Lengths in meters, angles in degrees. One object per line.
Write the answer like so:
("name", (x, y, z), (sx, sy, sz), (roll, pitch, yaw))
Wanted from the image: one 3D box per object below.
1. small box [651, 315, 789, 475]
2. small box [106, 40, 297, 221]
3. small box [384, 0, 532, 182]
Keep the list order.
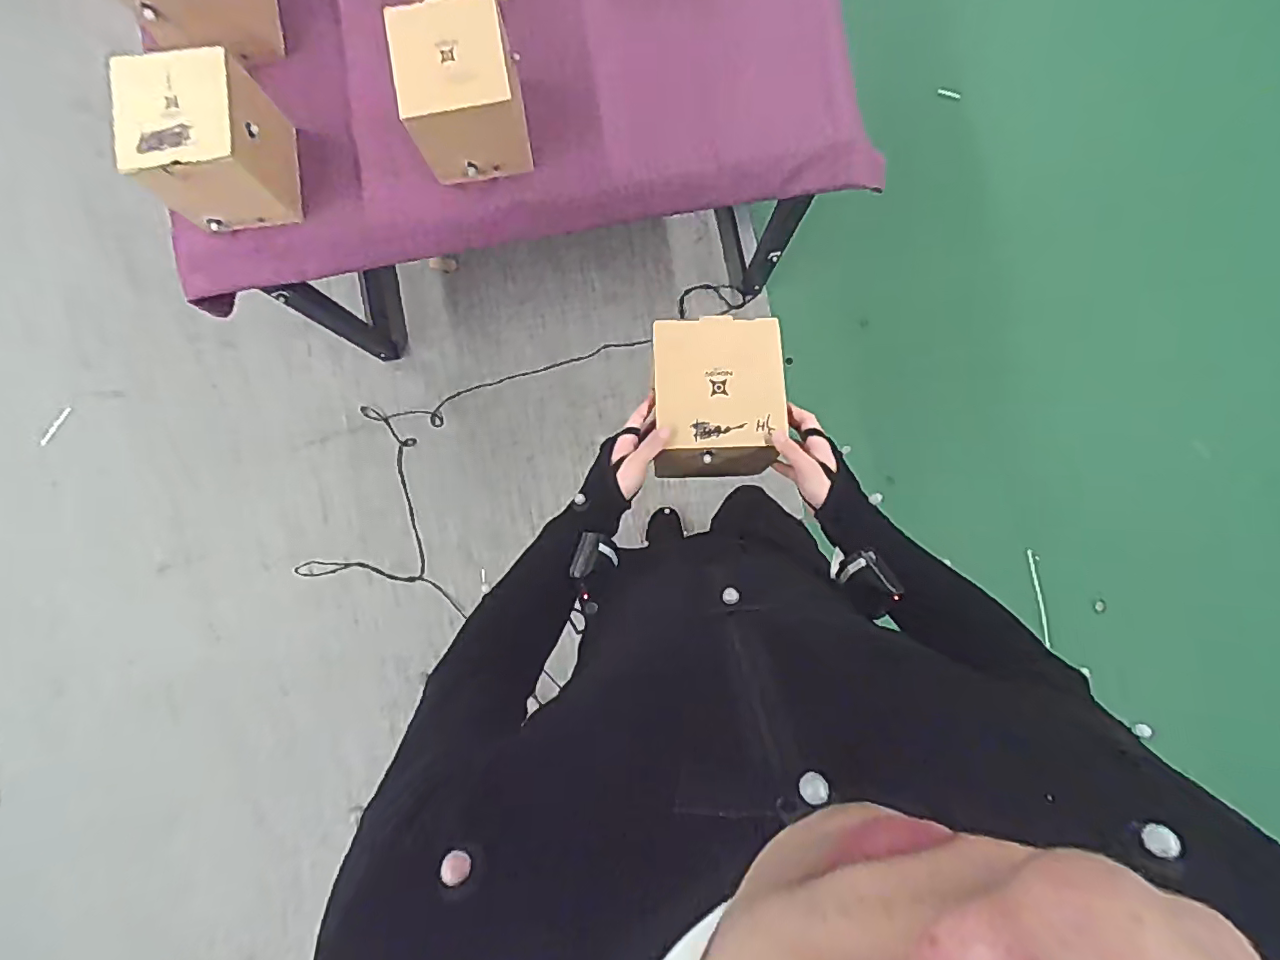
("small box", (0.101, -0.111, 0.760), (0.168, 0.176, 0.179), (-2, 79, 0))
("small box", (-0.668, -0.528, 0.844), (0.168, 0.176, 0.179), (-7, 86, -2))
("small box", (-0.278, -0.613, 0.856), (0.168, 0.176, 0.179), (-10, 87, 0))
